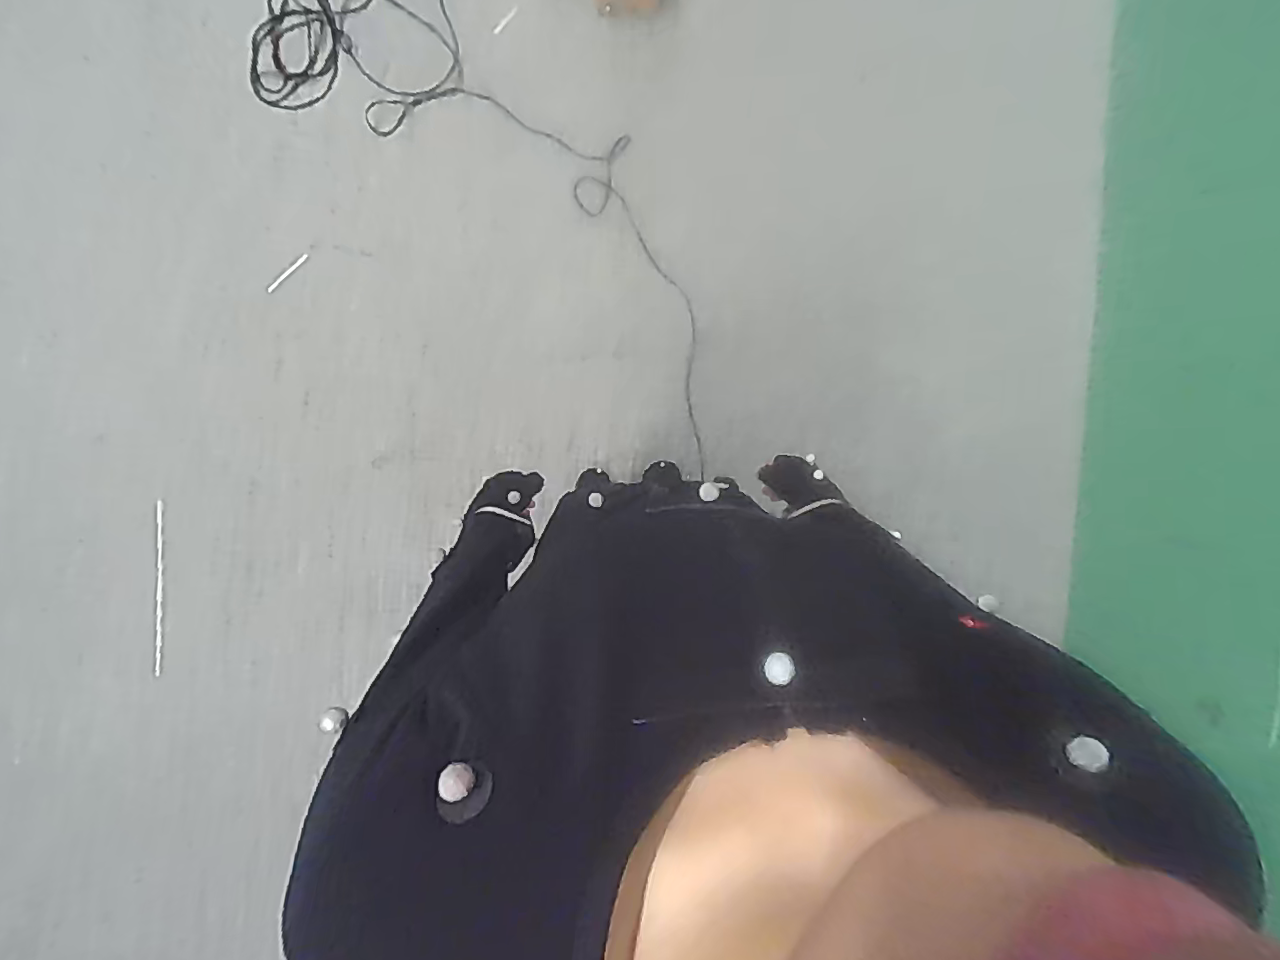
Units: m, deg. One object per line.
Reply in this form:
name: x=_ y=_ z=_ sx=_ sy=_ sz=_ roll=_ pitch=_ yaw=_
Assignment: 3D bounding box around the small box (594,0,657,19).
small box: x=-0.035 y=-1.314 z=1.361 sx=0.168 sy=0.176 sz=0.179 roll=0 pitch=91 yaw=-2
